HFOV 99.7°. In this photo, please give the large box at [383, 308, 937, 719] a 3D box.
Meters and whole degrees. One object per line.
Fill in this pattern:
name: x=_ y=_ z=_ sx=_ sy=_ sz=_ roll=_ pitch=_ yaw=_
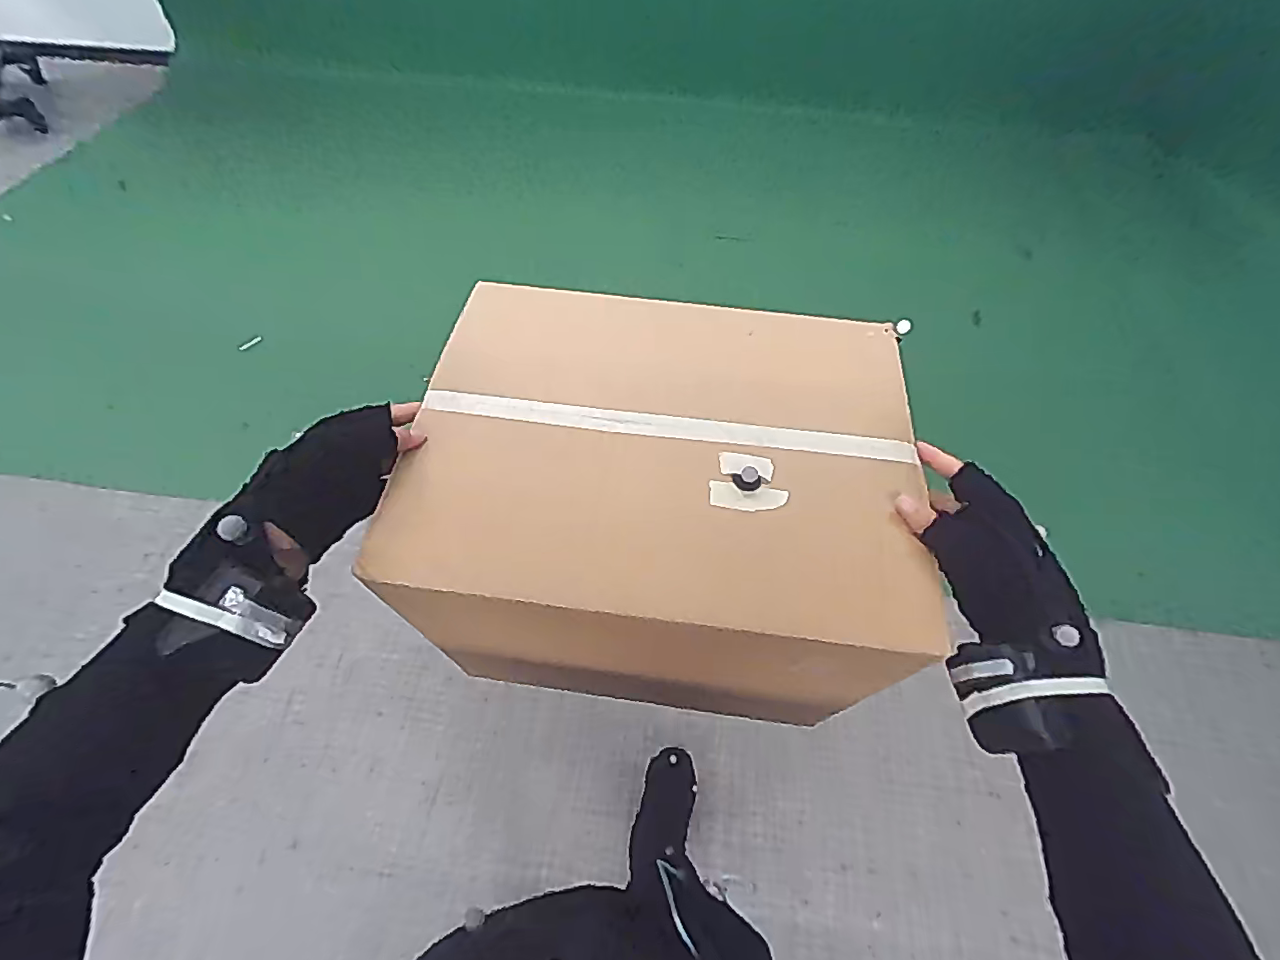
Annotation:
large box: x=0.022 y=0.049 z=0.585 sx=0.408 sy=0.320 sz=0.320 roll=6 pitch=58 yaw=3
